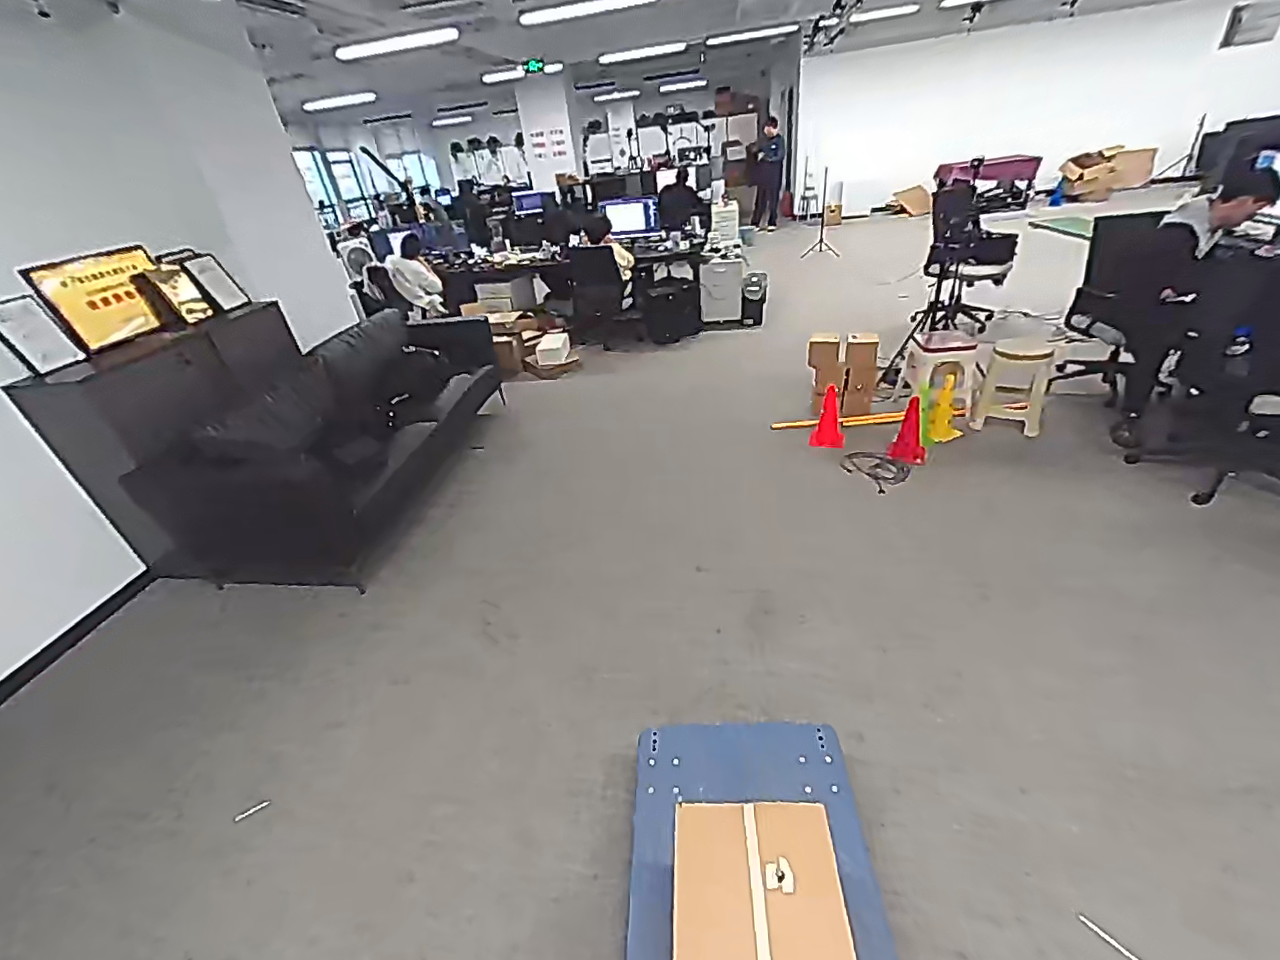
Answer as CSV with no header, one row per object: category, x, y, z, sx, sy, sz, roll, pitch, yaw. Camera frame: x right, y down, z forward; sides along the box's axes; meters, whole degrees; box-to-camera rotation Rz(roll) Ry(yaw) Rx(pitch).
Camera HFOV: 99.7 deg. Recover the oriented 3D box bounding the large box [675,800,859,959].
large box,0.239,0.911,1.052,0.320,0.320,0.408,-4,31,7
